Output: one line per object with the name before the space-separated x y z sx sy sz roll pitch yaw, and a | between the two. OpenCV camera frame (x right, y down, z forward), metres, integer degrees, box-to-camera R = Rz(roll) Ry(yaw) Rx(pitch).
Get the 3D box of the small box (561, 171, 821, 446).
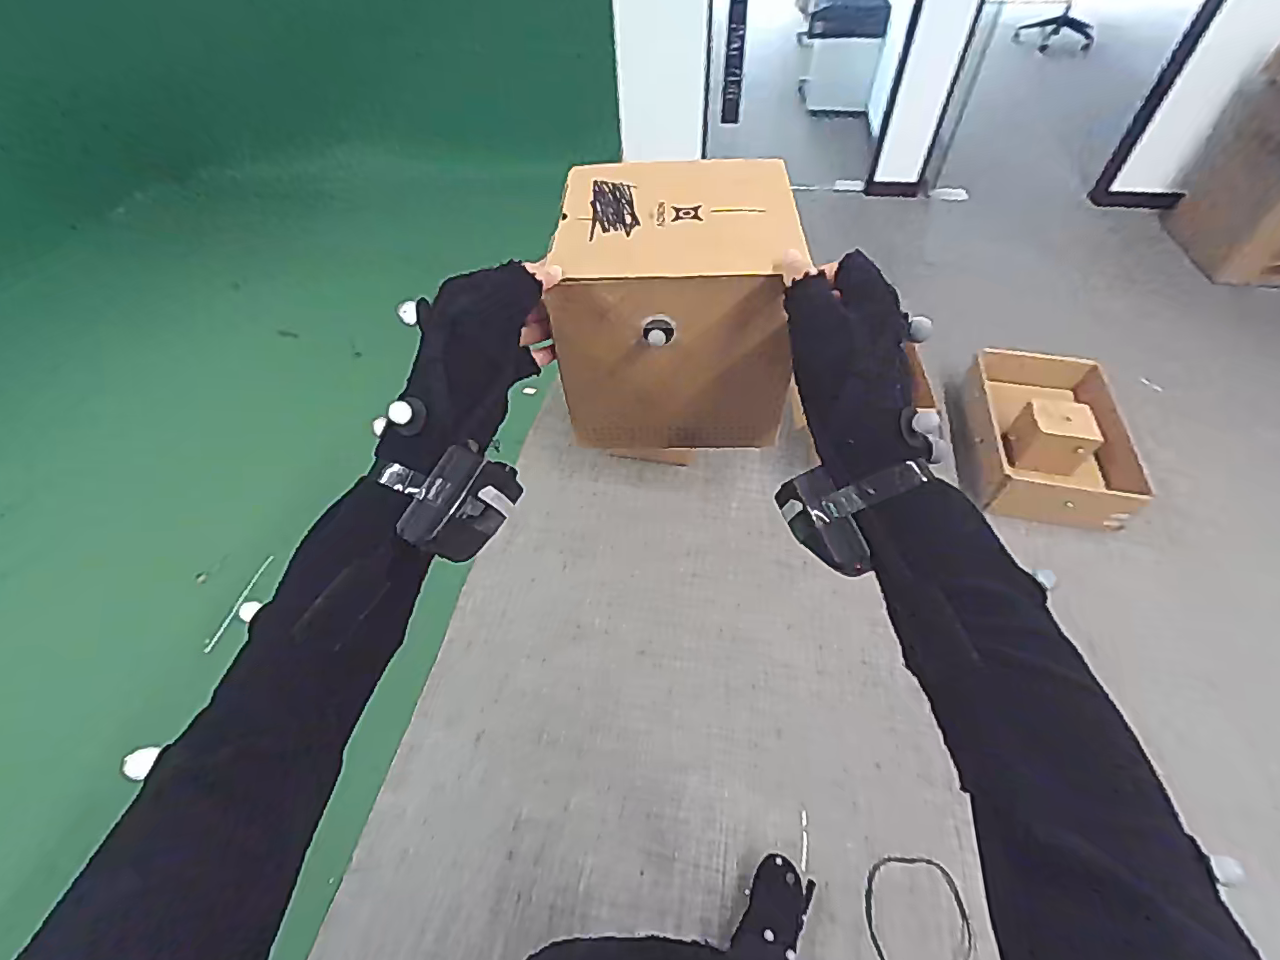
small box | 0.040 -0.143 0.468 0.179 0.176 0.168 1 52 3
